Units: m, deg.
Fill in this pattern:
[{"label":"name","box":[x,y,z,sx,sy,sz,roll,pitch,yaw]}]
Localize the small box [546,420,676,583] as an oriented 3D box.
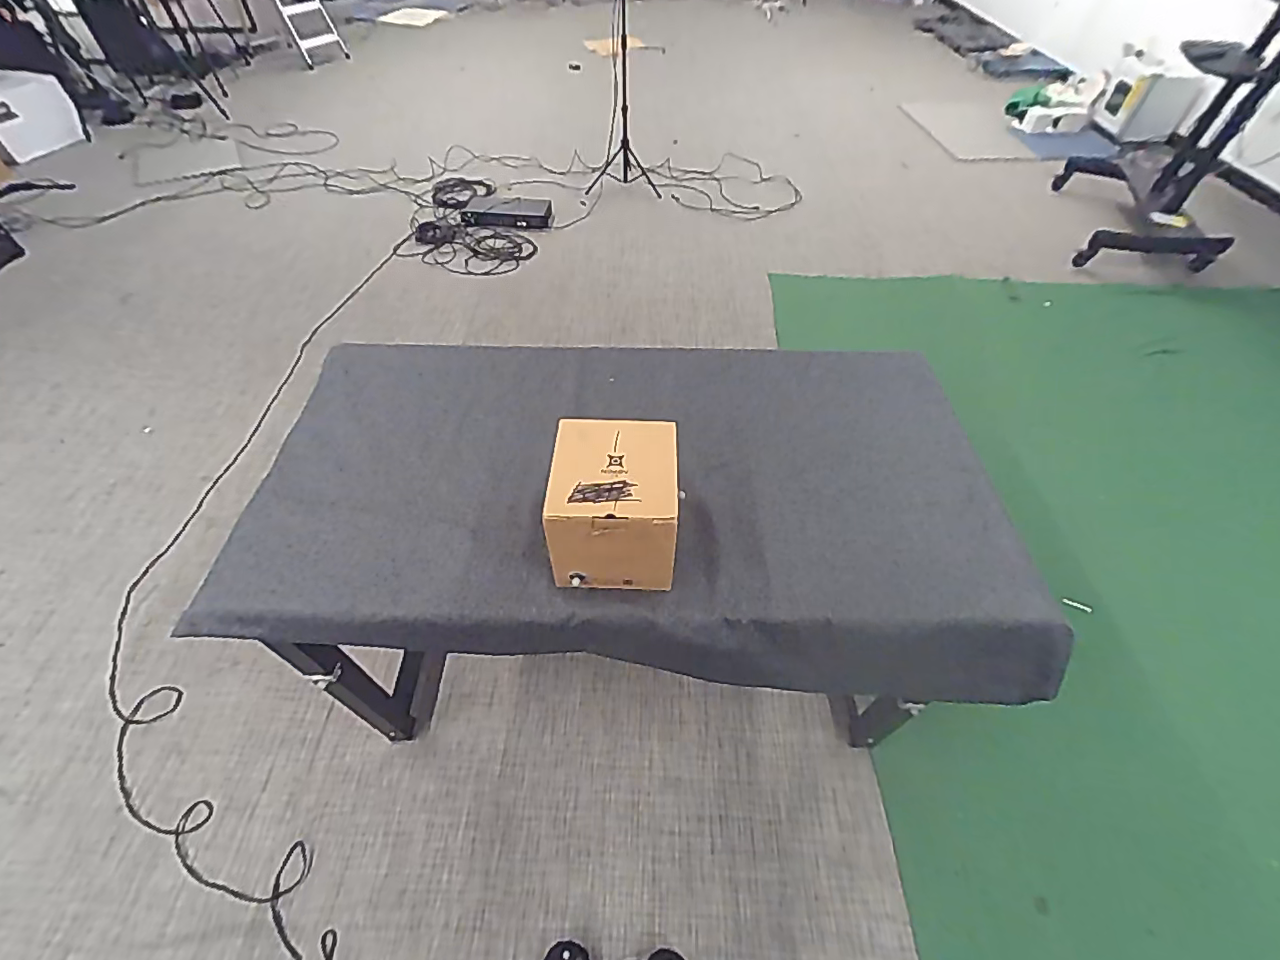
[{"label":"small box","box":[-0.033,0.034,0.784,0.168,0.176,0.179,2,49,1]}]
